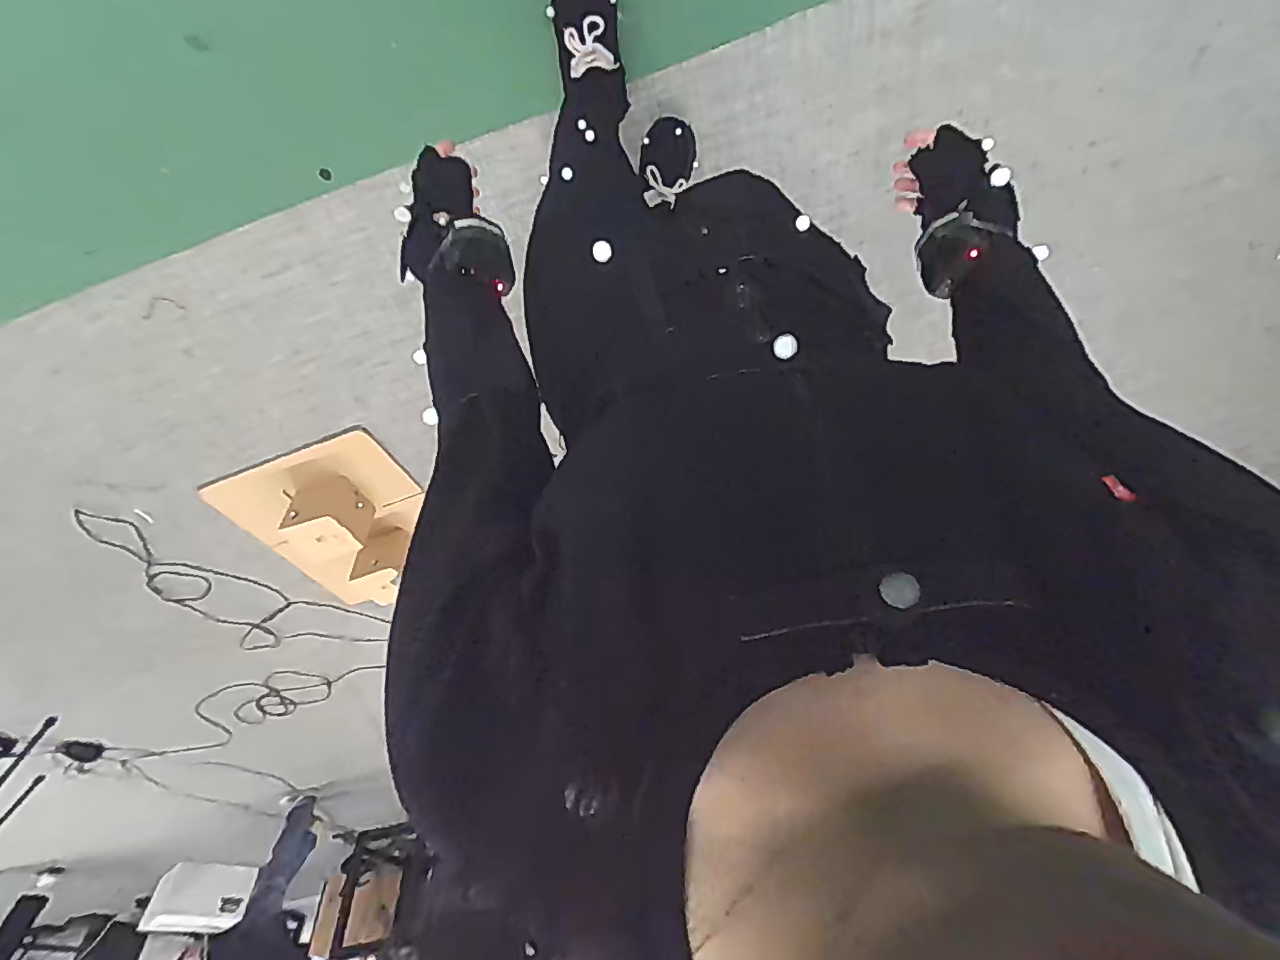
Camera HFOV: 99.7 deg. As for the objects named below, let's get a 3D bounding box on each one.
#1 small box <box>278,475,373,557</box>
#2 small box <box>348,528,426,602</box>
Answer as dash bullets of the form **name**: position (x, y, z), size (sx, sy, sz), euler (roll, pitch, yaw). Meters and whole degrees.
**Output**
- **small box**: position (-0.970, 0.110, 1.684), size (0.179, 0.176, 0.168), euler (-16, 135, 6)
- **small box**: position (-0.862, 0.290, 1.869), size (0.179, 0.176, 0.168), euler (-19, 133, 11)
